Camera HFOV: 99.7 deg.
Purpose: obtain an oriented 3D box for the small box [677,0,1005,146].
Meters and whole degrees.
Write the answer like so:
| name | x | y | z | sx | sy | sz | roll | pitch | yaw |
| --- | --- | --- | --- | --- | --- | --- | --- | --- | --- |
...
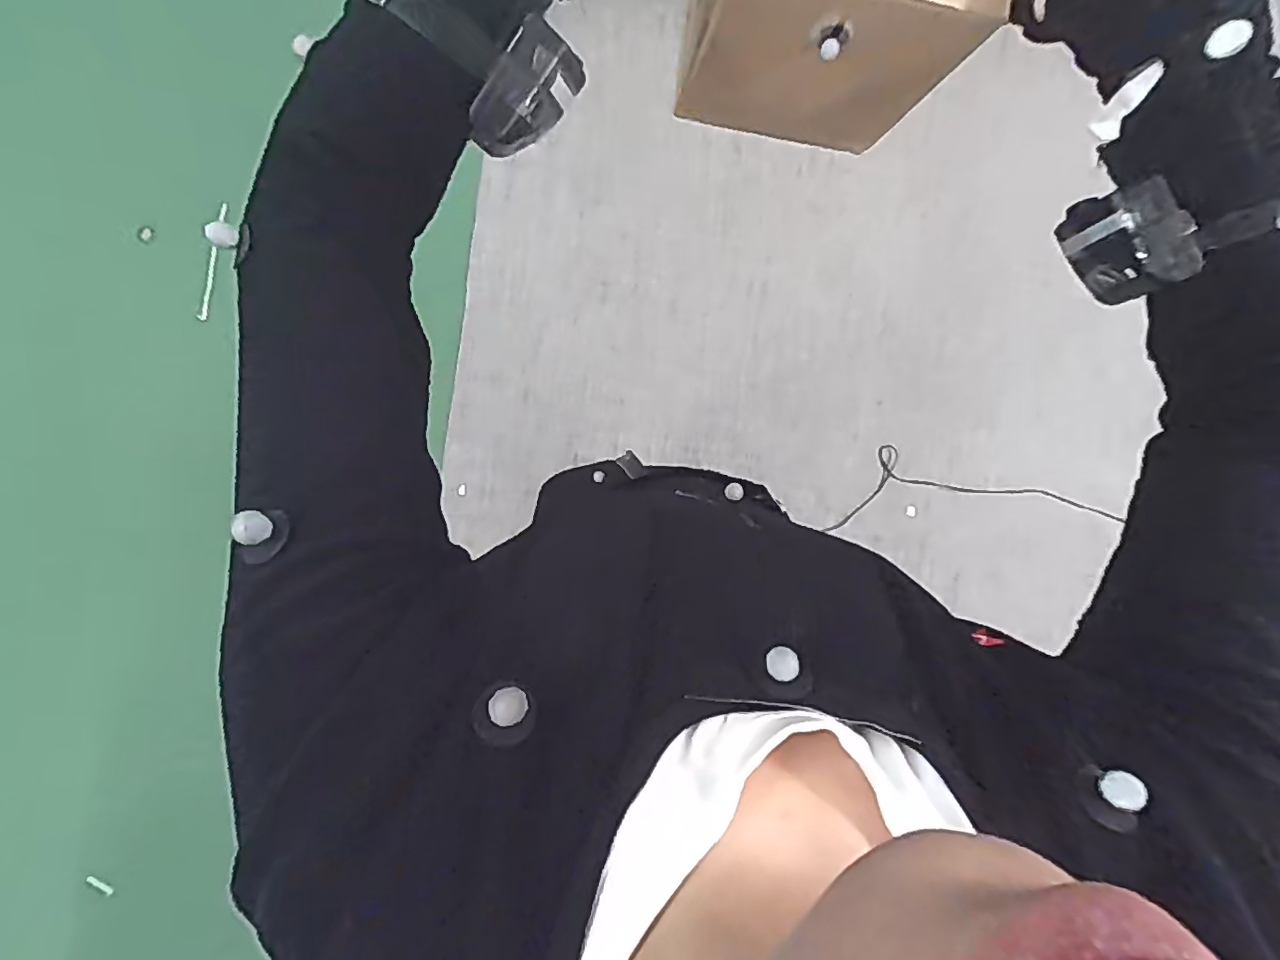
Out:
| name | x | y | z | sx | sy | sz | roll | pitch | yaw |
| --- | --- | --- | --- | --- | --- | --- | --- | --- | --- |
| small box | 0.132 | -0.374 | 0.386 | 0.179 | 0.176 | 0.168 | 6 | 95 | -9 |
